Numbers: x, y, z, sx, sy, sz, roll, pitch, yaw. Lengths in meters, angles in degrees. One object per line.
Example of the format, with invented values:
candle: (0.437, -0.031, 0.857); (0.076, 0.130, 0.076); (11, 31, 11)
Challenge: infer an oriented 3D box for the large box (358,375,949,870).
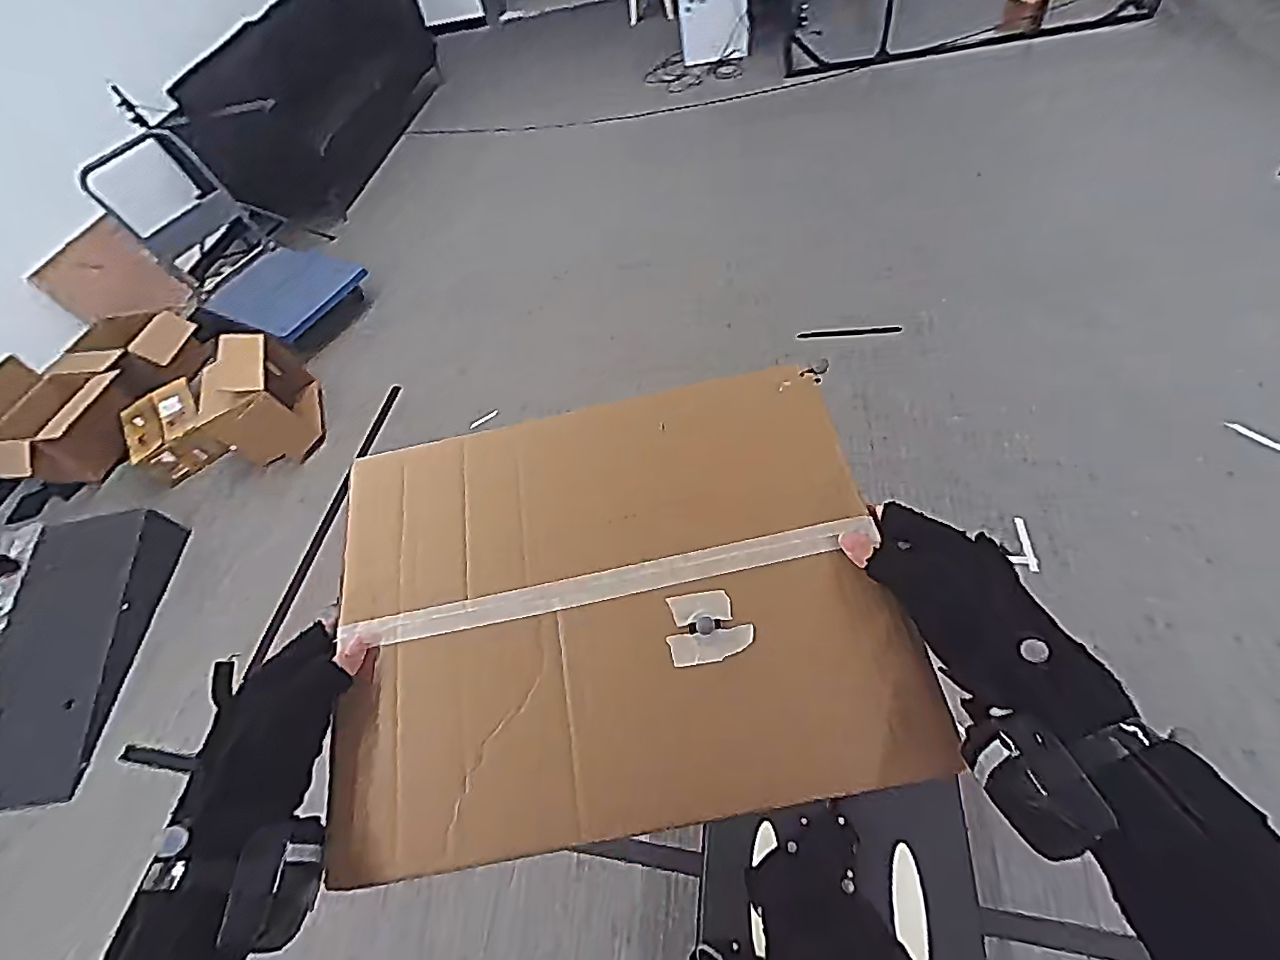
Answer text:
large box: (-0.003, 0.146, 0.549); (0.408, 0.320, 0.320); (-12, 64, 1)
